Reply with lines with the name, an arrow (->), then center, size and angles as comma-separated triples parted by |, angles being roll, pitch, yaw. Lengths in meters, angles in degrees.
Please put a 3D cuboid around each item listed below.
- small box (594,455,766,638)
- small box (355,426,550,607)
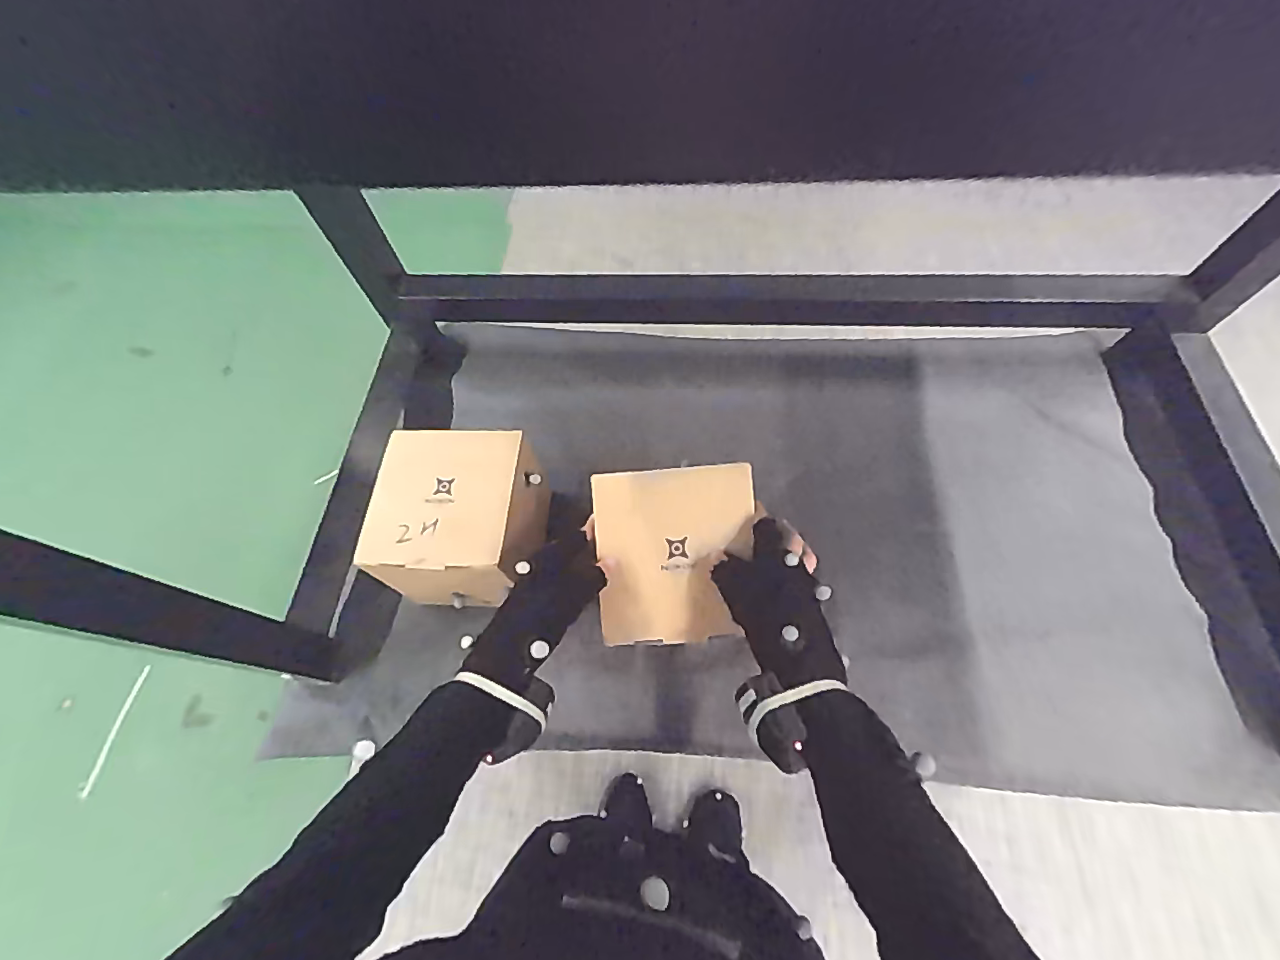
small box -> 0.042, 0.073, 0.625 | 0.168, 0.176, 0.179 | -5, 86, 3
small box -> -0.218, 0.050, 0.688 | 0.168, 0.176, 0.179 | 1, 62, 6
